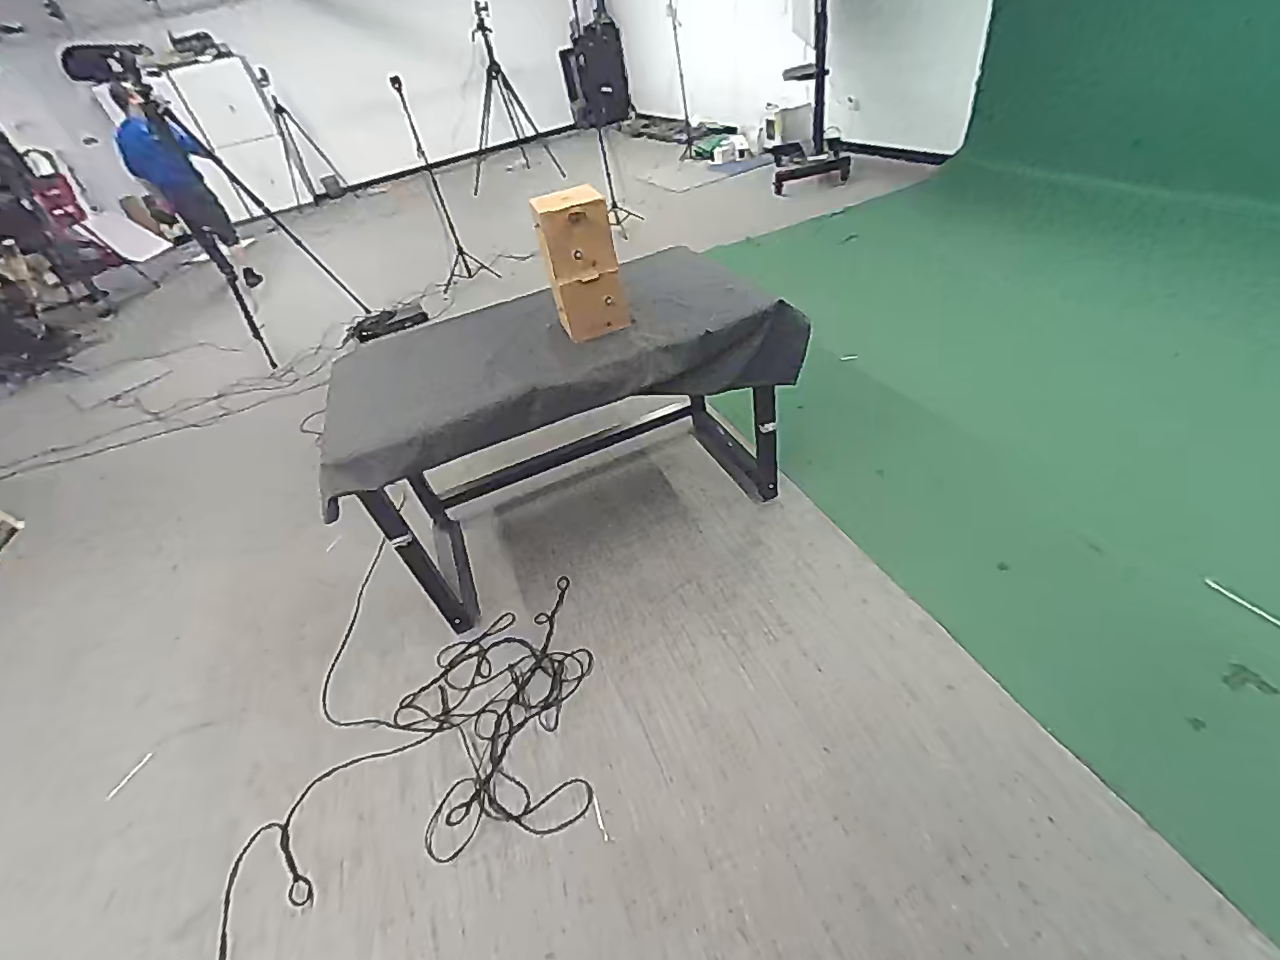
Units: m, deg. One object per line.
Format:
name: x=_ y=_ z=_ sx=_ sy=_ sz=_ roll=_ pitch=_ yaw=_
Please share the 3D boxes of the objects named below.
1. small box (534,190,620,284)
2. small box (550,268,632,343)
small box: x=-0.162 y=-0.624 z=1.390 sx=0.168 sy=0.176 sz=0.179 roll=-19 pitch=41 yaw=-8
small box: x=-0.132 y=-0.491 z=1.481 sx=0.168 sy=0.176 sz=0.179 roll=-19 pitch=39 yaw=-9
